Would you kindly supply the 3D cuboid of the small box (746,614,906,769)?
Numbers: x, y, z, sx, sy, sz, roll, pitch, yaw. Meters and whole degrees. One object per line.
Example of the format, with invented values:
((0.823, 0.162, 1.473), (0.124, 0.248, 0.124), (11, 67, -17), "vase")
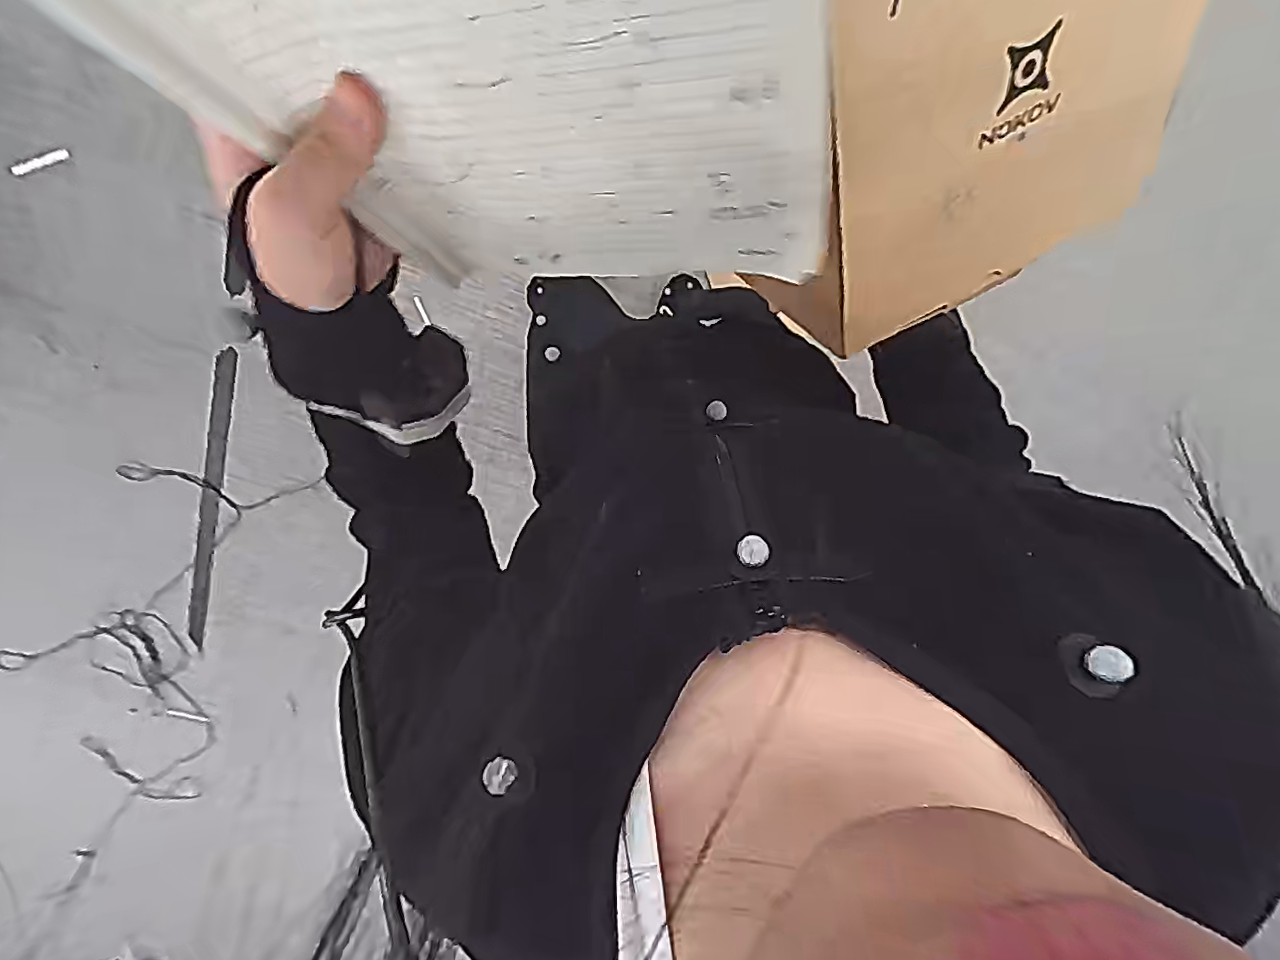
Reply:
((0.307, 0.357, 0.935), (0.179, 0.176, 0.168), (18, 111, -10), "small box")

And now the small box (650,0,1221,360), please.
((0.121, -0.199, 0.262), (0.168, 0.176, 0.179), (-29, 137, -1), "small box")

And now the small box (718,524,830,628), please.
((0.294, 0.218, 1.233), (0.179, 0.176, 0.168), (15, 112, -10), "small box")
